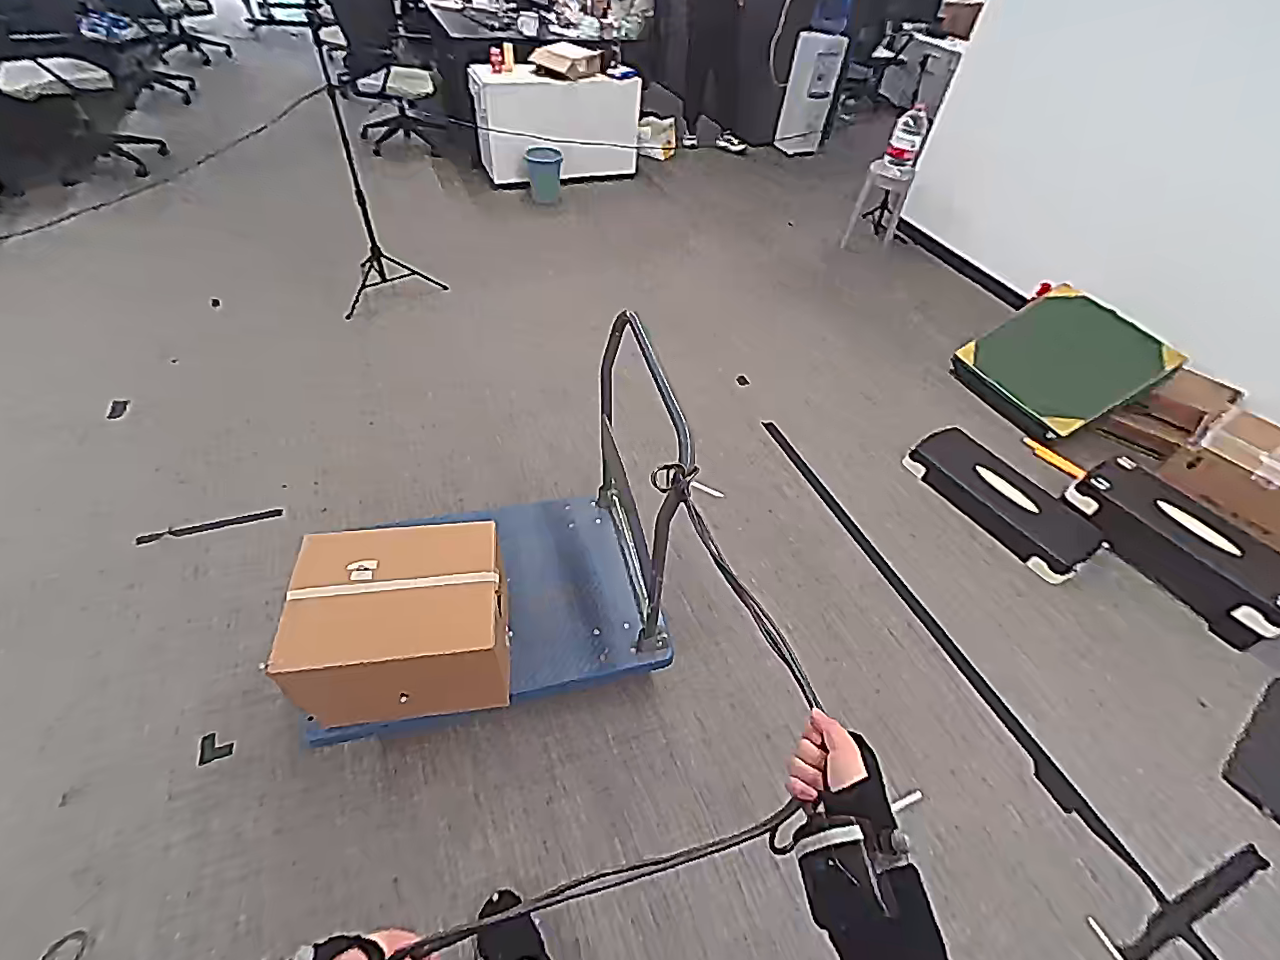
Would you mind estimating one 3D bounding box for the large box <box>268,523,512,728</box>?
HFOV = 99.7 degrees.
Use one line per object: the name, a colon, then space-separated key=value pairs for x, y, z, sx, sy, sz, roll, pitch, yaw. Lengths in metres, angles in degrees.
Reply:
large box: x=-0.507 y=0.324 z=1.206 sx=0.408 sy=0.320 sz=0.320 roll=-4 pitch=48 yaw=-9
